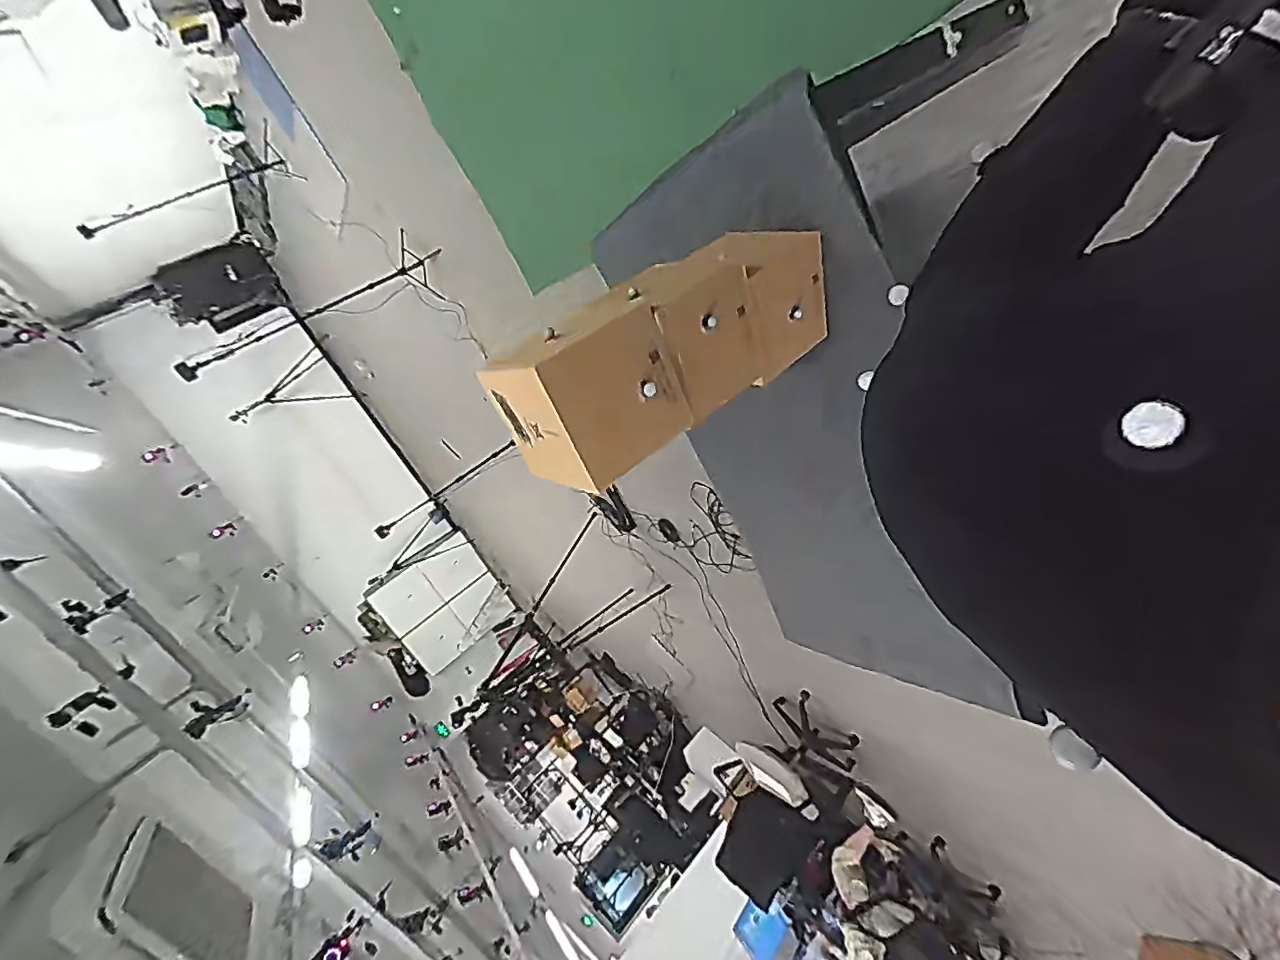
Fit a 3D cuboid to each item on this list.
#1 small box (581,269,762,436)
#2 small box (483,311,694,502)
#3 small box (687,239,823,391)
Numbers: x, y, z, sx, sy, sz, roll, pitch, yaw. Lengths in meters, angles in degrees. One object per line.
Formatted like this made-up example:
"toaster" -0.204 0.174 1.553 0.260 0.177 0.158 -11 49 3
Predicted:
"small box" 0.053 -0.187 0.764 0.179 0.176 0.168 22 141 49
"small box" -0.063 -0.099 0.688 0.179 0.176 0.168 14 136 52
"small box" 0.171 -0.265 0.847 0.179 0.176 0.168 26 145 44
